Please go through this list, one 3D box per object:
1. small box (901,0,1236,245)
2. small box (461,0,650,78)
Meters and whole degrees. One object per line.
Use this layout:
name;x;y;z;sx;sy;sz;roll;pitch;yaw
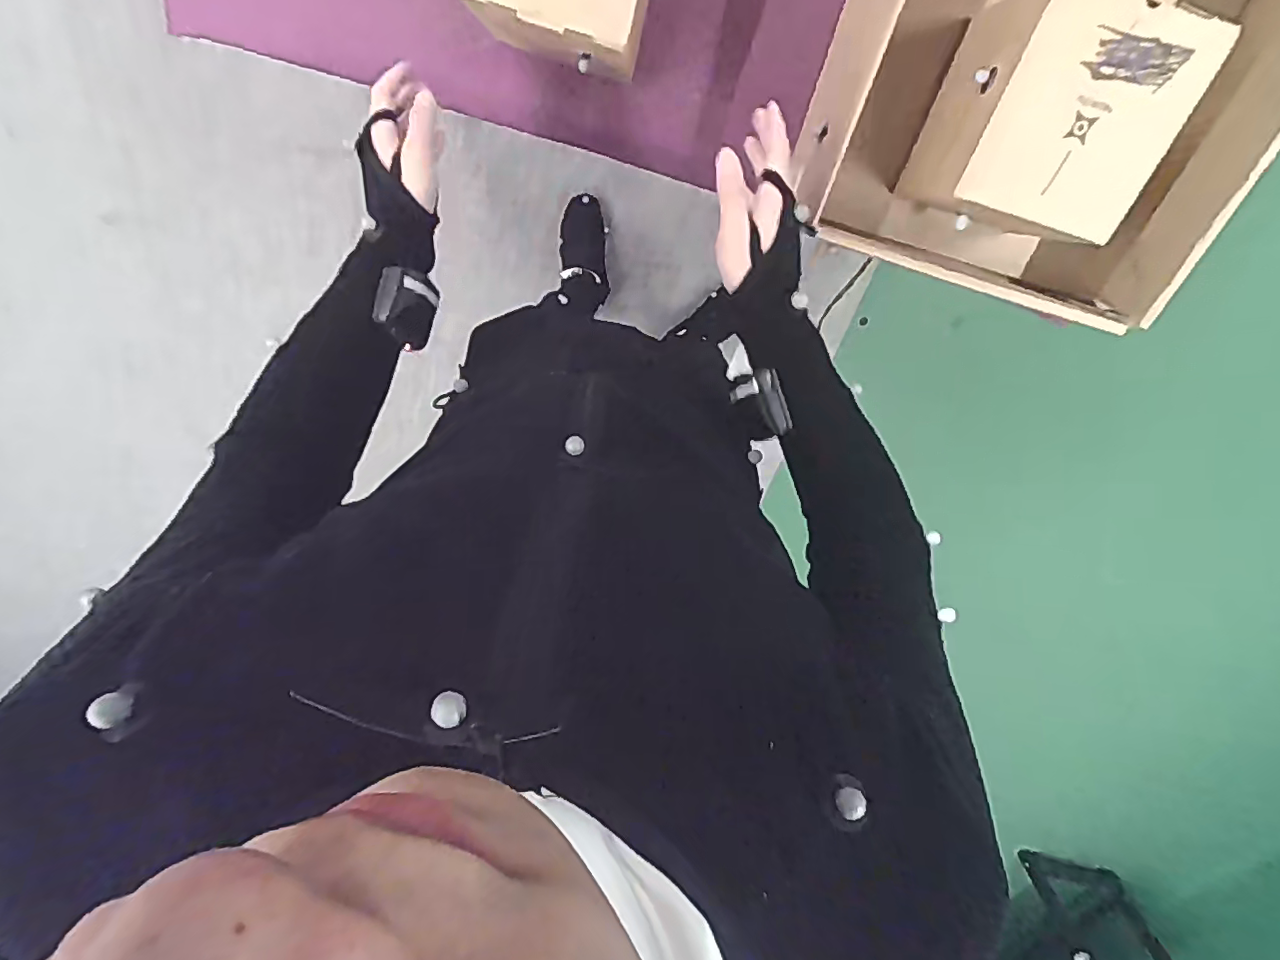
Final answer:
small box;0.402;-0.360;0.553;0.168;0.176;0.179;15;118;-5
small box;-0.067;-0.530;0.529;0.168;0.176;0.179;14;117;-7
